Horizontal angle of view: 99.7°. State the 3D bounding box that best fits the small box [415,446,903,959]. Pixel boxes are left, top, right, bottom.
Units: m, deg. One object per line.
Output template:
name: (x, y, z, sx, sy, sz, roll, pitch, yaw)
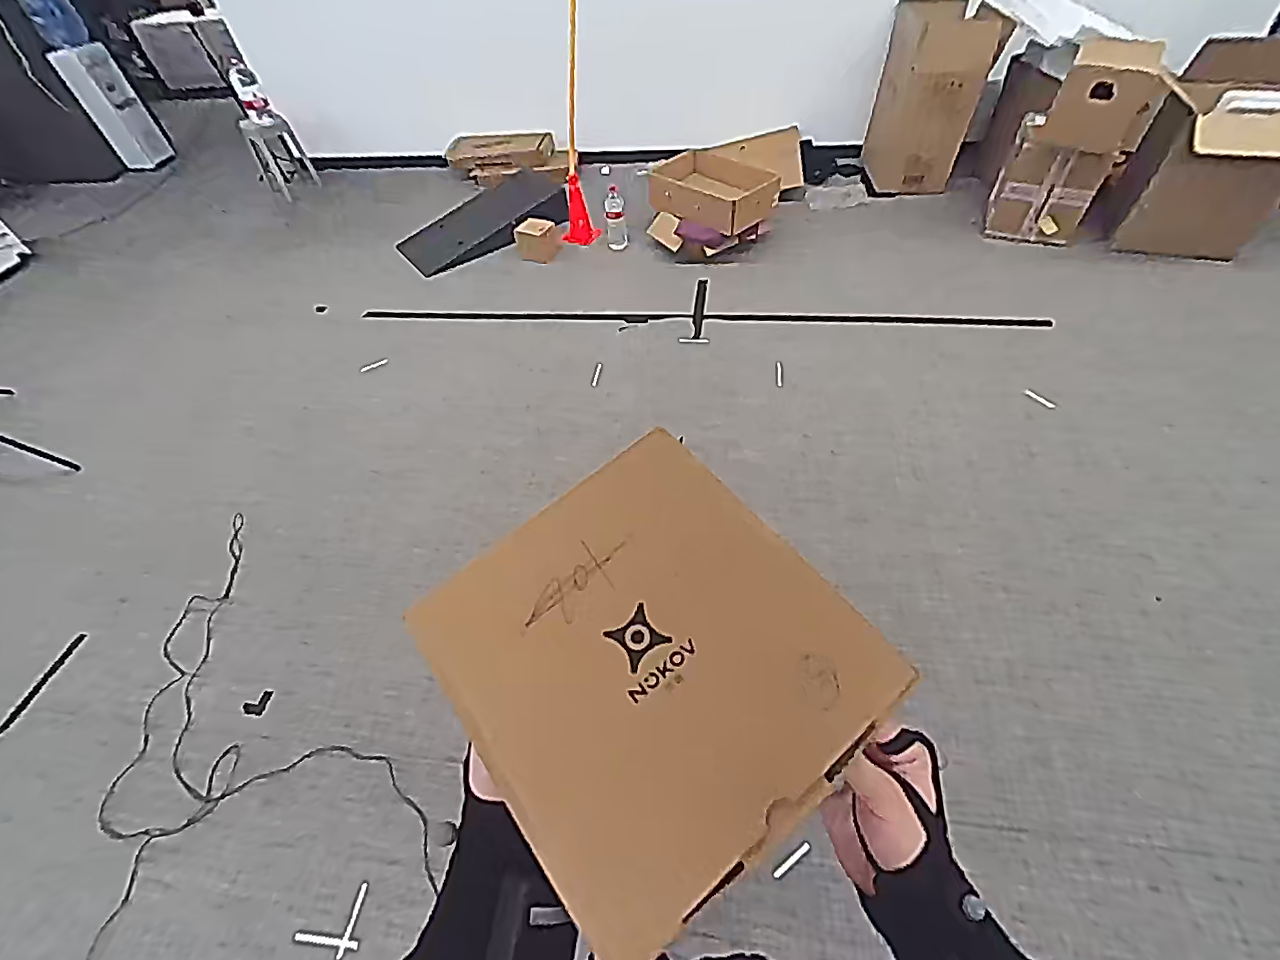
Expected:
small box: (0.010, 0.120, 0.323, 0.168, 0.176, 0.179, -37, 63, -14)
